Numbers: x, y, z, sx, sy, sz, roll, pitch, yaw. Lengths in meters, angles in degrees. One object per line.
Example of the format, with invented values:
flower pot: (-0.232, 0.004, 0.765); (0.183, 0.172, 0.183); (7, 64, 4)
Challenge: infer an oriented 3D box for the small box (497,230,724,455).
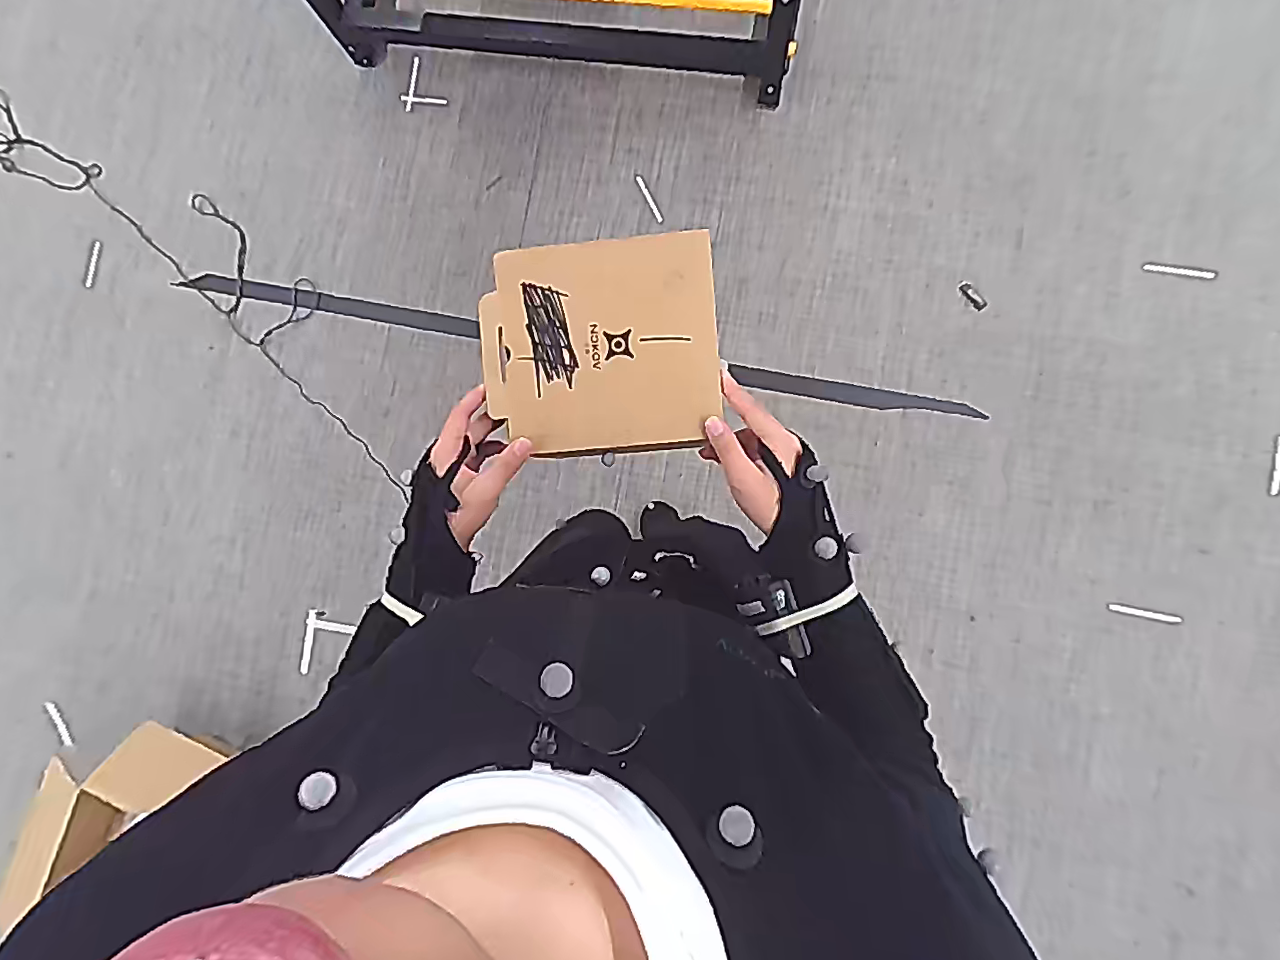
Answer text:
small box: (-0.019, -0.112, 0.512); (0.179, 0.176, 0.168); (-5, 92, 3)
